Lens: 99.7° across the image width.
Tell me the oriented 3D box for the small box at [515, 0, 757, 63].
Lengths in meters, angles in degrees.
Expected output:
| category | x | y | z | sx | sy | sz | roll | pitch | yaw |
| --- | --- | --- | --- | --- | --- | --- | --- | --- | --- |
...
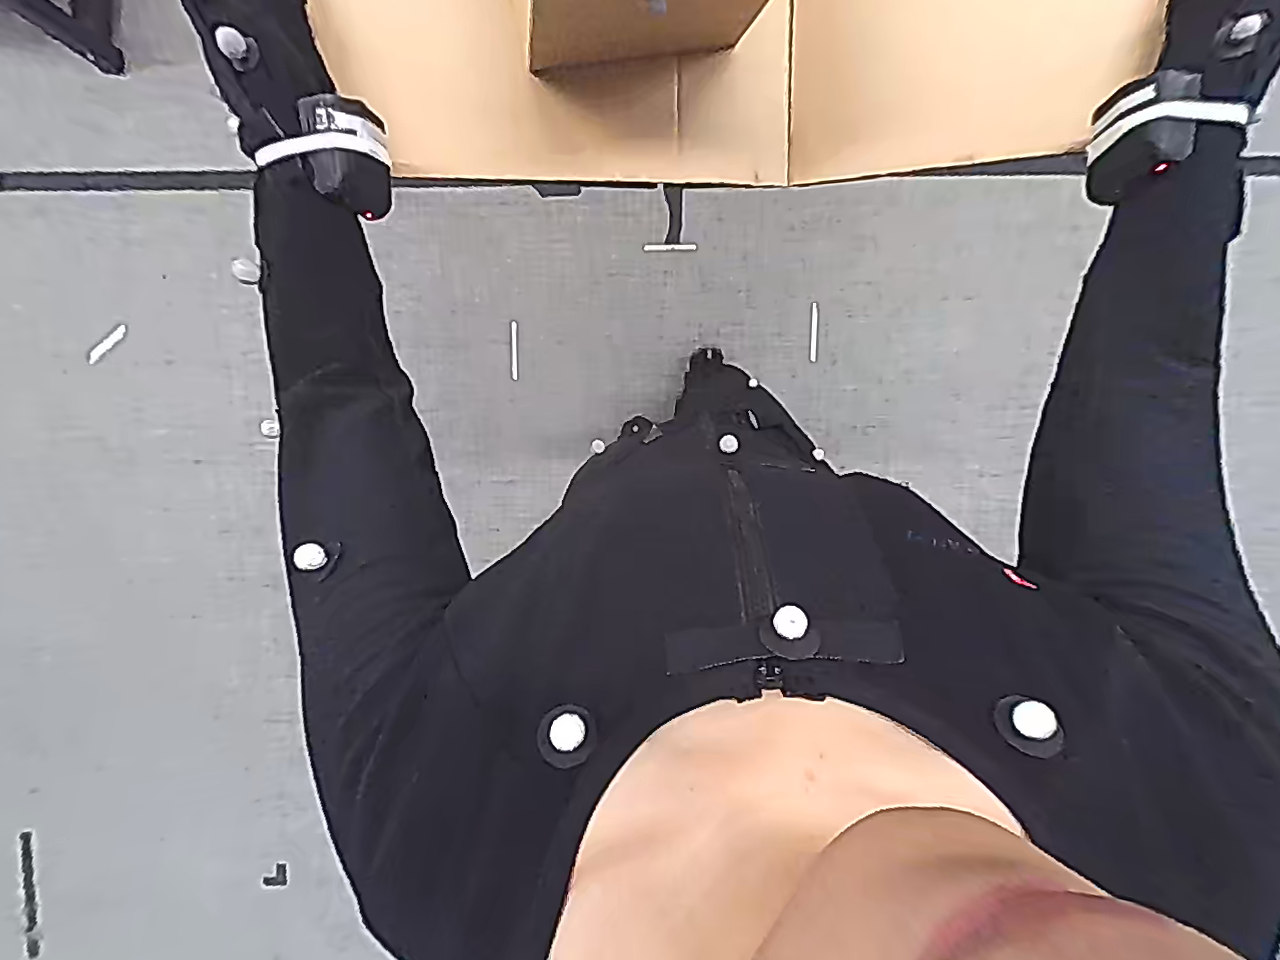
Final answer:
| category | x | y | z | sx | sy | sz | roll | pitch | yaw |
| --- | --- | --- | --- | --- | --- | --- | --- | --- | --- |
| small box | 0.001 | -0.399 | 0.337 | 0.179 | 0.176 | 0.168 | -14 | 107 | -9 |
